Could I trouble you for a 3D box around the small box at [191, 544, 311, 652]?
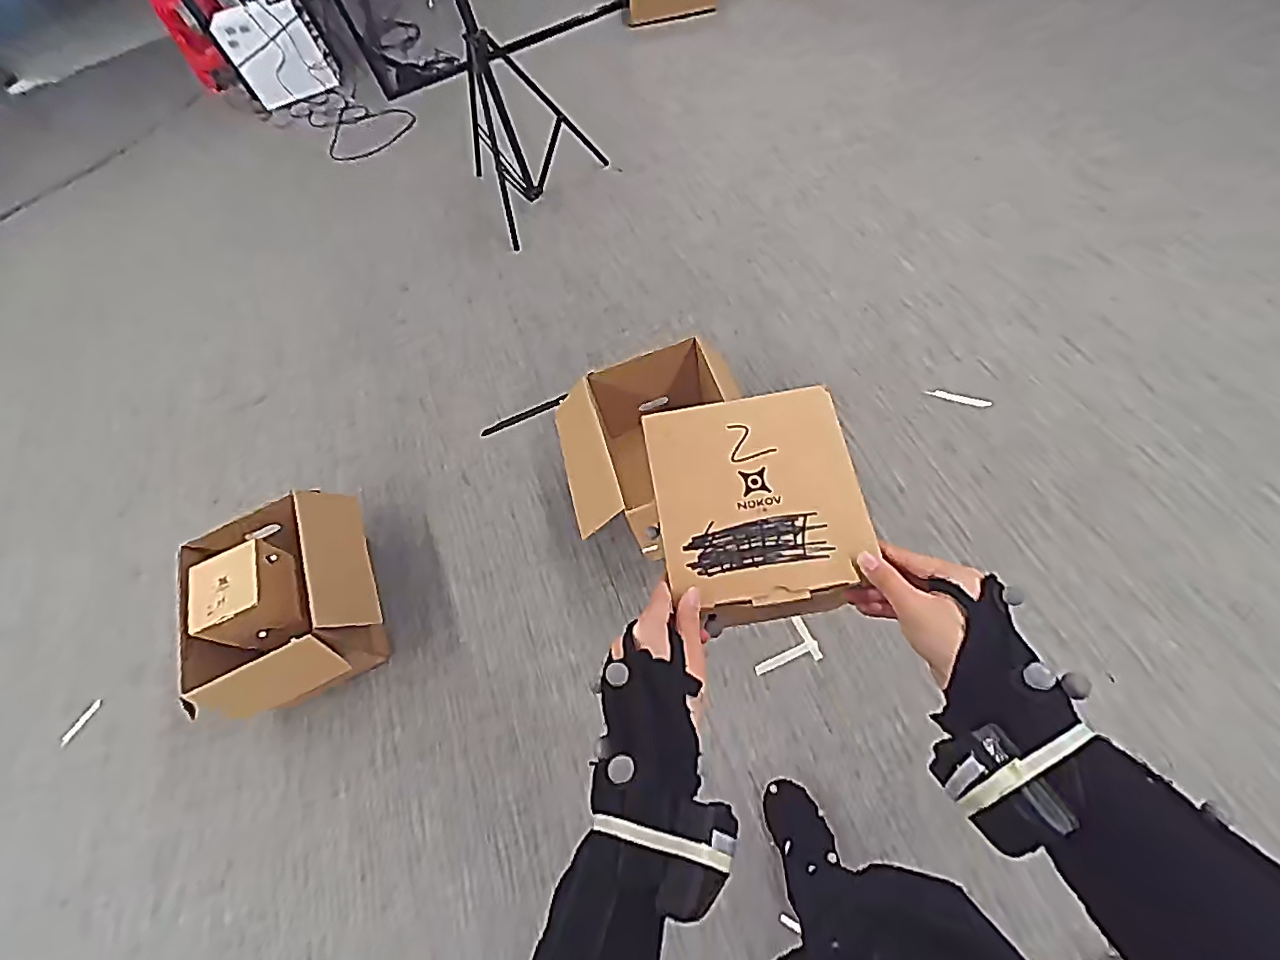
[{"bbox_3d":[-0.925,0.288,1.298,0.168,0.176,0.179,-26,60,-2],"label":"small box"}]
